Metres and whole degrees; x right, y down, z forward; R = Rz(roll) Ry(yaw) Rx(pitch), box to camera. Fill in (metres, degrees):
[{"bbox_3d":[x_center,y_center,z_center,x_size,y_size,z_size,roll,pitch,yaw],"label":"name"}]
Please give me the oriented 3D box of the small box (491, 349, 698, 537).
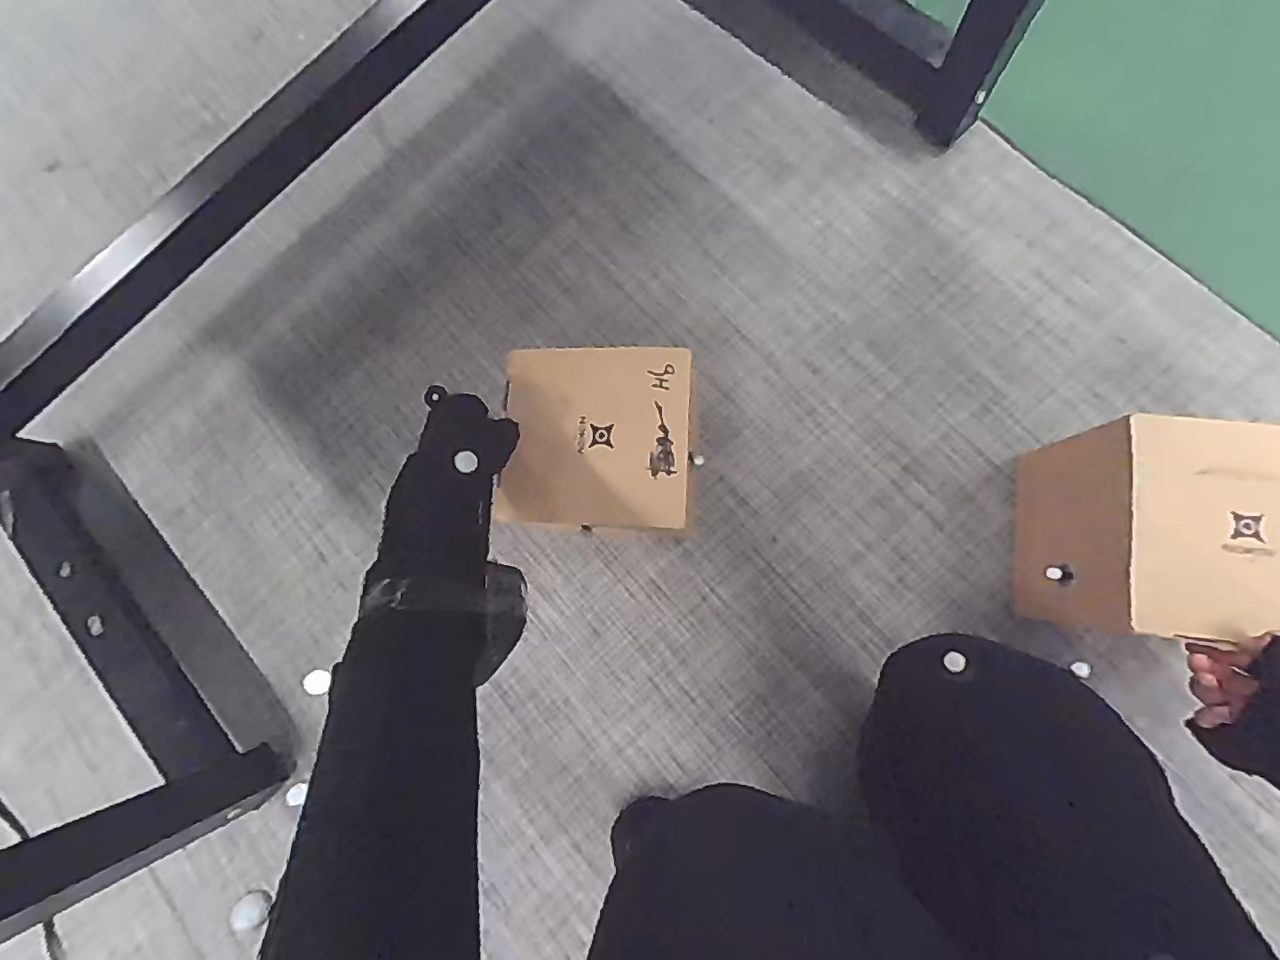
[{"bbox_3d":[-0.034,-0.029,0.570,0.179,0.176,0.168,2,82,9],"label":"small box"}]
